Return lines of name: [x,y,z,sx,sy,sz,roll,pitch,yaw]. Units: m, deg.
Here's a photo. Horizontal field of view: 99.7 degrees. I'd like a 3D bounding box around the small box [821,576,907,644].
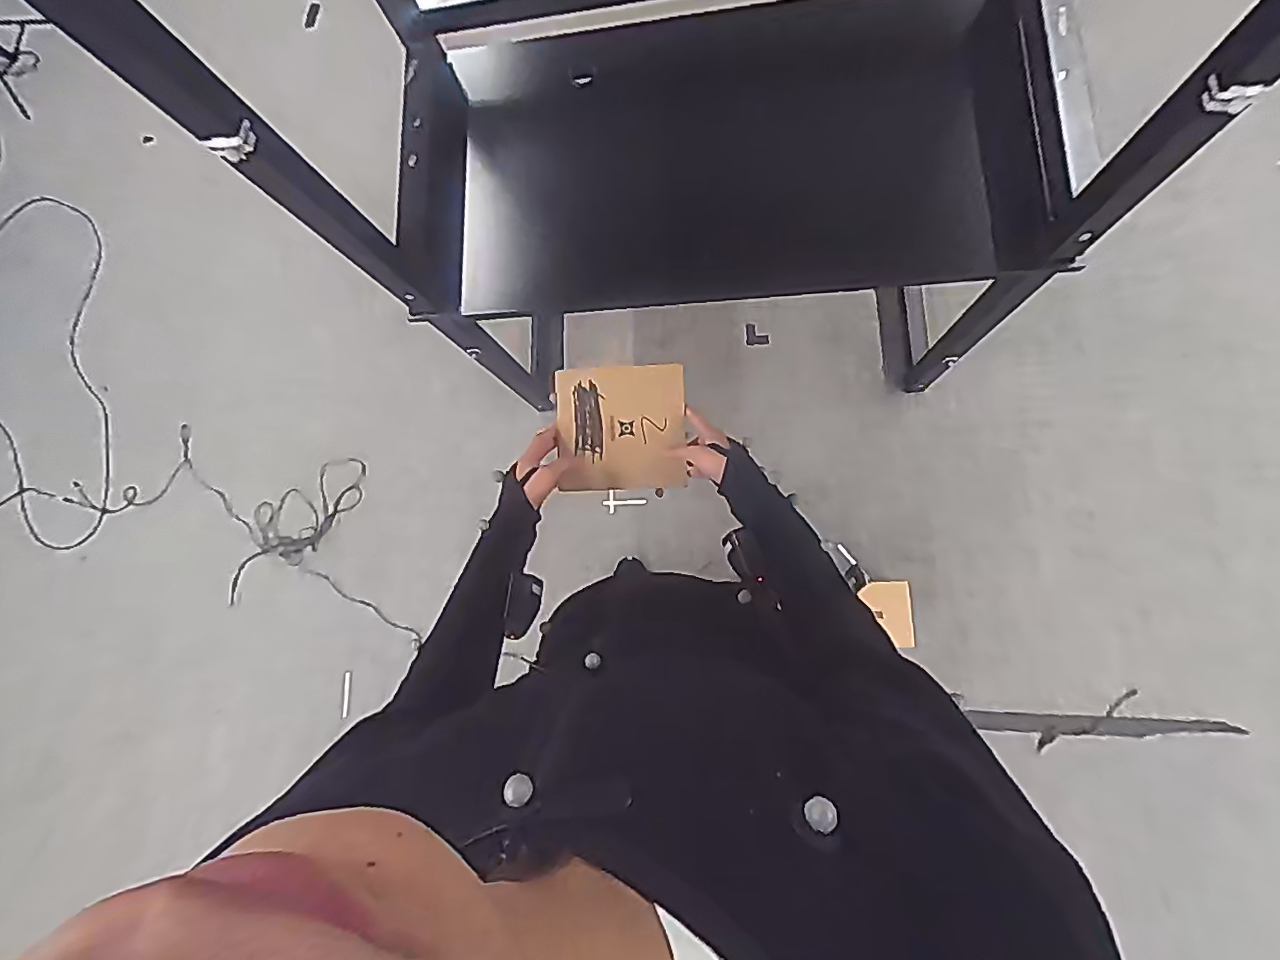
small box: [0.599,0.347,1.465,0.179,0.176,0.168,-3,81,9]
